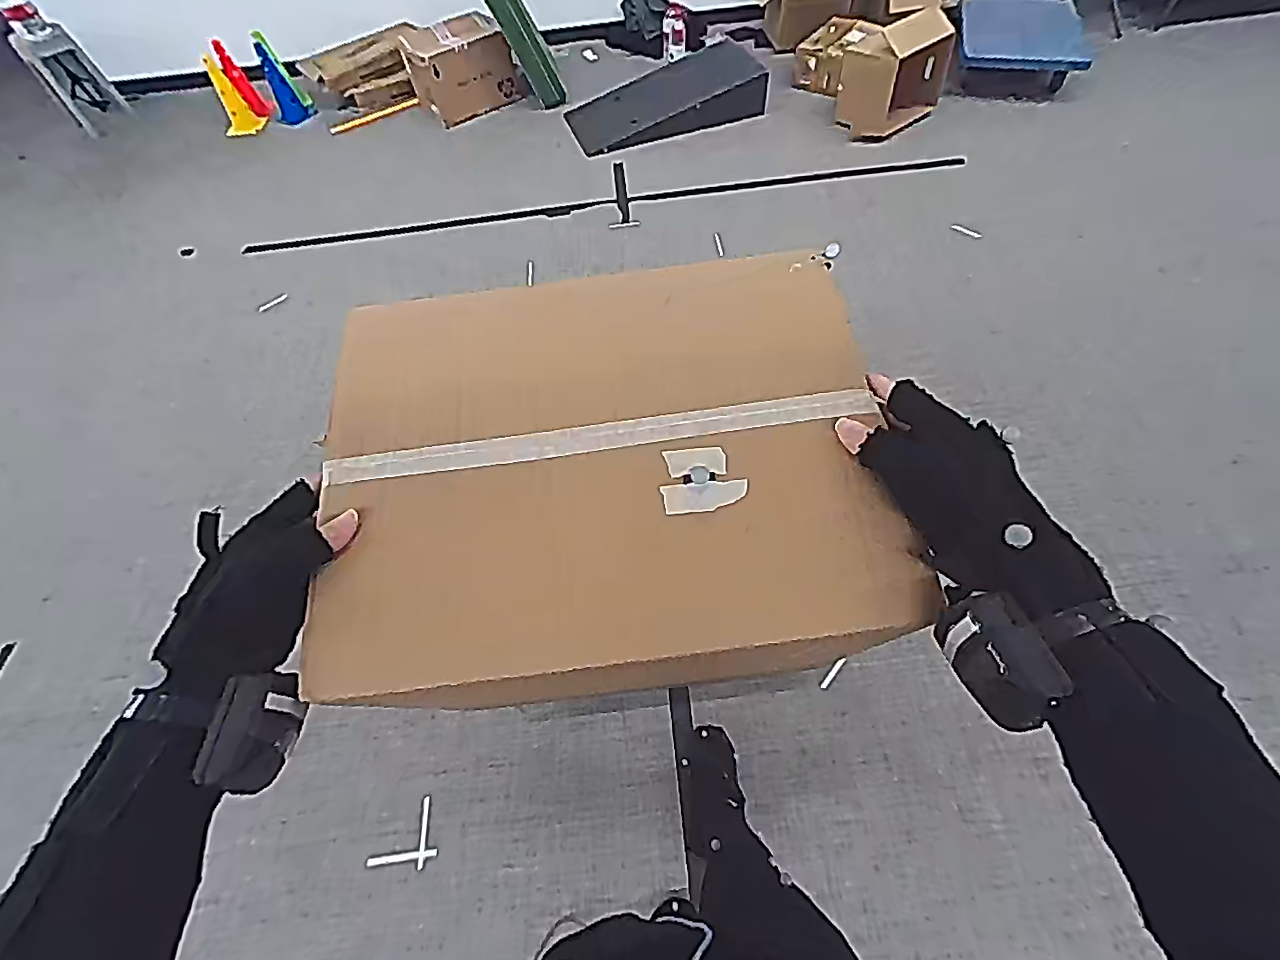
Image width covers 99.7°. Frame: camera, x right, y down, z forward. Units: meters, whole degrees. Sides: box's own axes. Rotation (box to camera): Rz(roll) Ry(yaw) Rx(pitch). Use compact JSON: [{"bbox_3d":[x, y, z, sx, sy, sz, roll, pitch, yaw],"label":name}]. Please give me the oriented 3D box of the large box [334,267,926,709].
[{"bbox_3d":[-0.018,0.037,0.550,0.408,0.320,0.320,-8,66,0],"label":"large box"}]
